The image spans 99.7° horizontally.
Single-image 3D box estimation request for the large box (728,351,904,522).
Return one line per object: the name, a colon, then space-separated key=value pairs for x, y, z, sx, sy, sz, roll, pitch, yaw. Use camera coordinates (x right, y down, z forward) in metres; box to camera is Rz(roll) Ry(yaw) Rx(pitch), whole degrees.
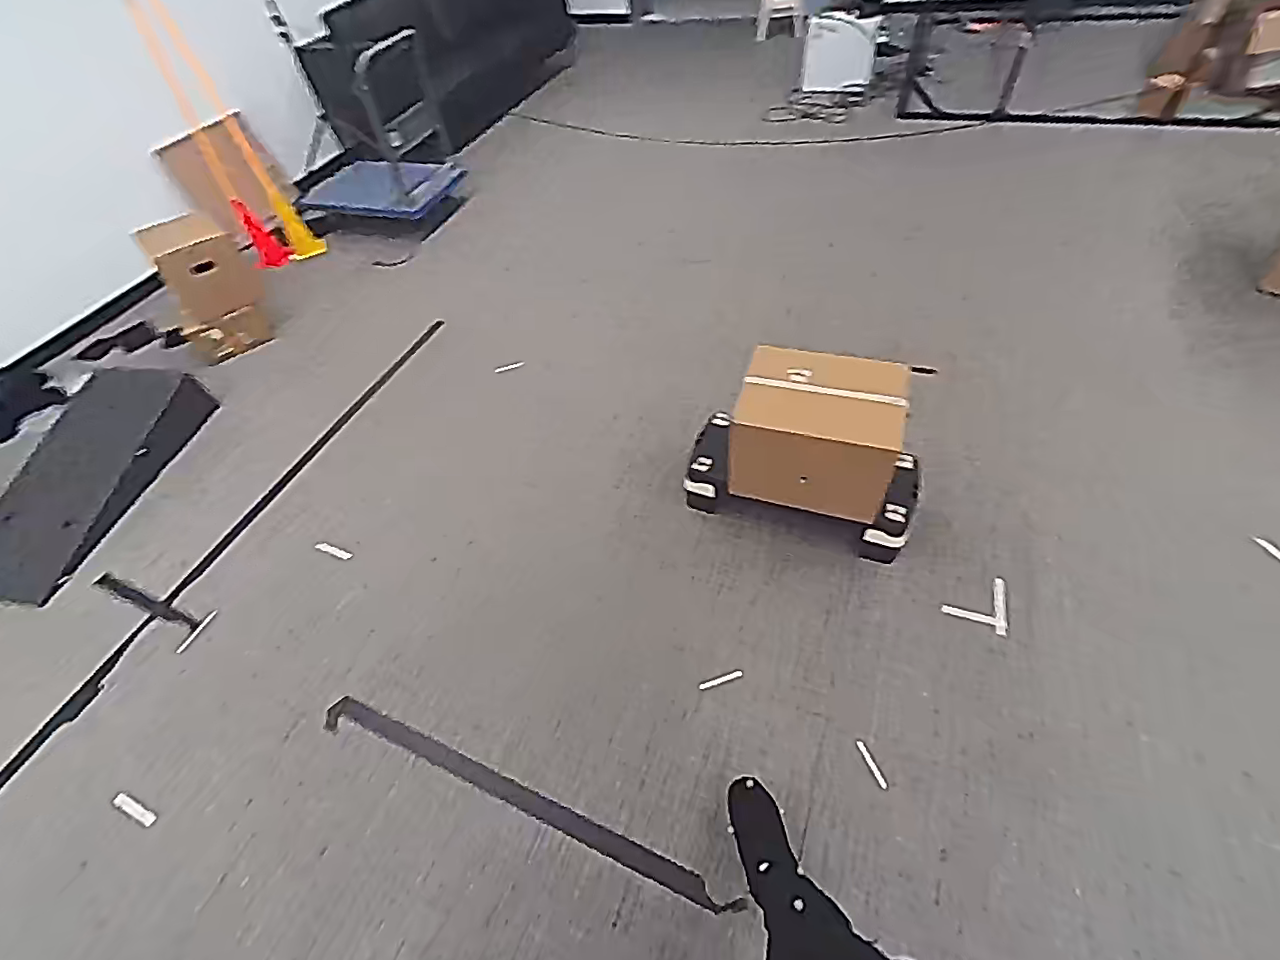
large box: x=0.474 y=-0.121 z=1.492 sx=0.408 sy=0.320 sz=0.320 roll=11 pitch=54 yaw=18
